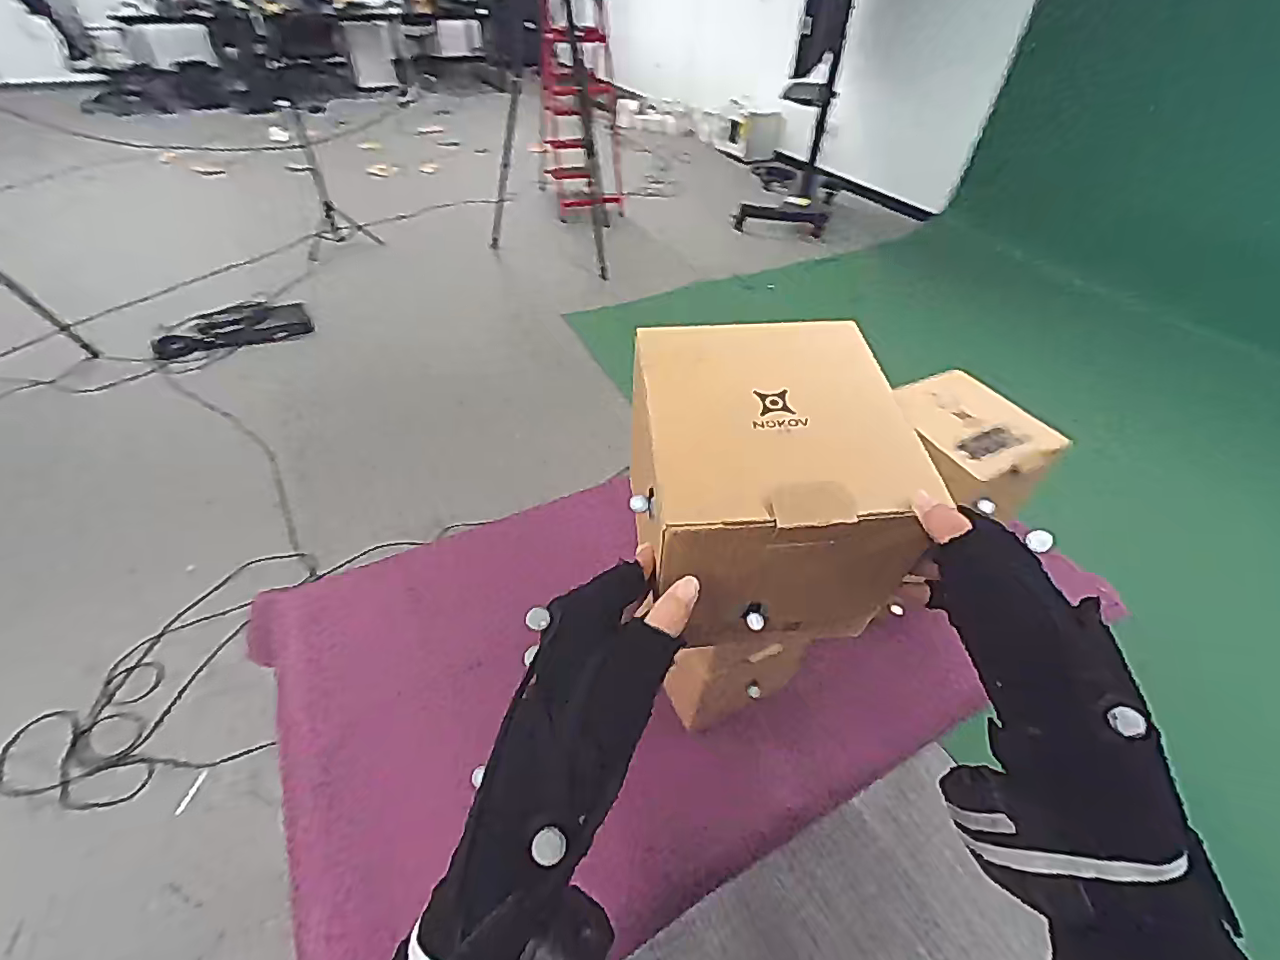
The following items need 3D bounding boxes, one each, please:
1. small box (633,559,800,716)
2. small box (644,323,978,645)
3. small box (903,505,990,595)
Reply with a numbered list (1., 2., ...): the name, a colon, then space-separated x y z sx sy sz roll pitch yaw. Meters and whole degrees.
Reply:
1. small box: 0.100 0.197 0.739 0.168 0.176 0.179 -17 50 -20
2. small box: 0.094 0.005 0.400 0.168 0.176 0.179 -2 53 -4
3. small box: 0.396 0.080 0.866 0.168 0.176 0.179 -16 50 -20
